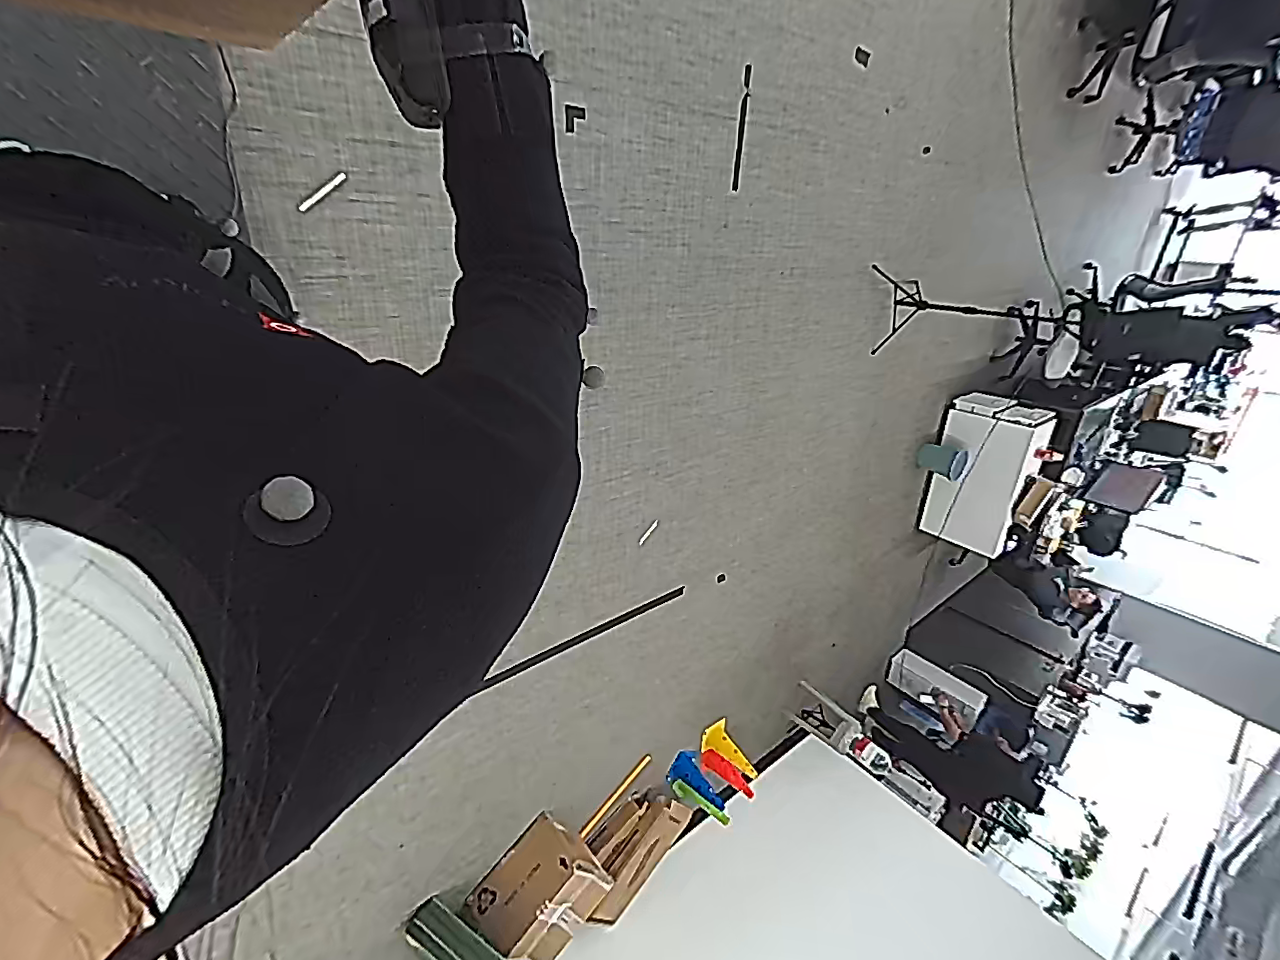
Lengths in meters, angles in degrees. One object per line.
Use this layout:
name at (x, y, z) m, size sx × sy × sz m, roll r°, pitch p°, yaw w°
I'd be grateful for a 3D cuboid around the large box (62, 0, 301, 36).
large box at (-0.383, -0.414, 0.196) m, size 0.408 × 0.320 × 0.320 m, roll -17°, pitch 126°, yaw -36°
